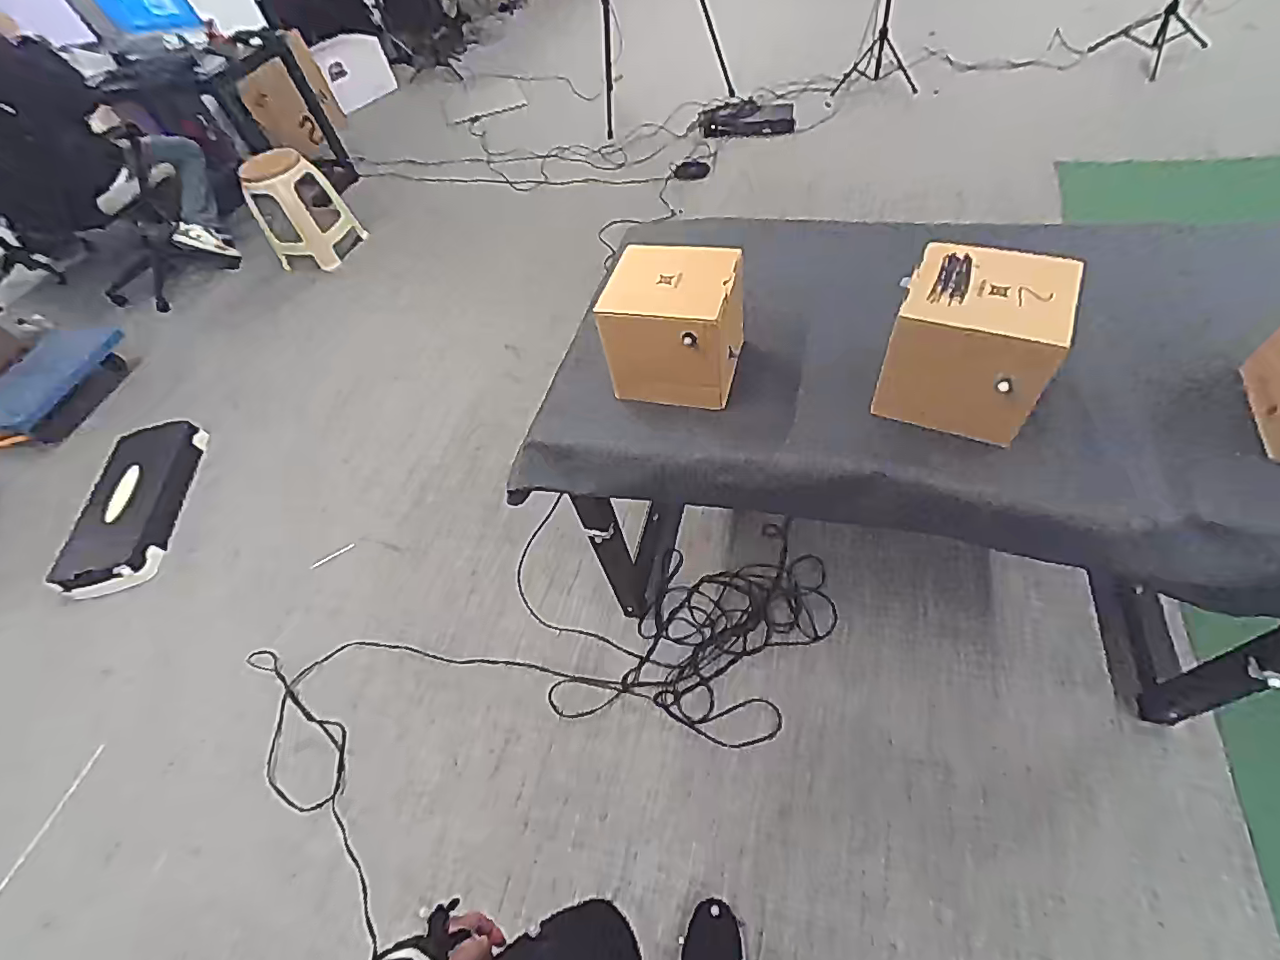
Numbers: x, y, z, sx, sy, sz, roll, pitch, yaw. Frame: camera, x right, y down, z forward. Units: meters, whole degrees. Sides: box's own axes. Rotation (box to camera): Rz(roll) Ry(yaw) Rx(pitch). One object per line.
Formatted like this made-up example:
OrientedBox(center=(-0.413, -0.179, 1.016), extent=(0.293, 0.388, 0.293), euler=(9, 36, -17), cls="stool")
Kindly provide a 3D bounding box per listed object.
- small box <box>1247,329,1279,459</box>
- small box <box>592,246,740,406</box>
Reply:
OrientedBox(center=(0.825, -0.114, 0.583), extent=(0.179, 0.176, 0.168), euler=(12, 58, 18), cls="small box")
OrientedBox(center=(0.050, -0.230, 0.816), extent=(0.179, 0.176, 0.168), euler=(9, 55, 16), cls="small box")
